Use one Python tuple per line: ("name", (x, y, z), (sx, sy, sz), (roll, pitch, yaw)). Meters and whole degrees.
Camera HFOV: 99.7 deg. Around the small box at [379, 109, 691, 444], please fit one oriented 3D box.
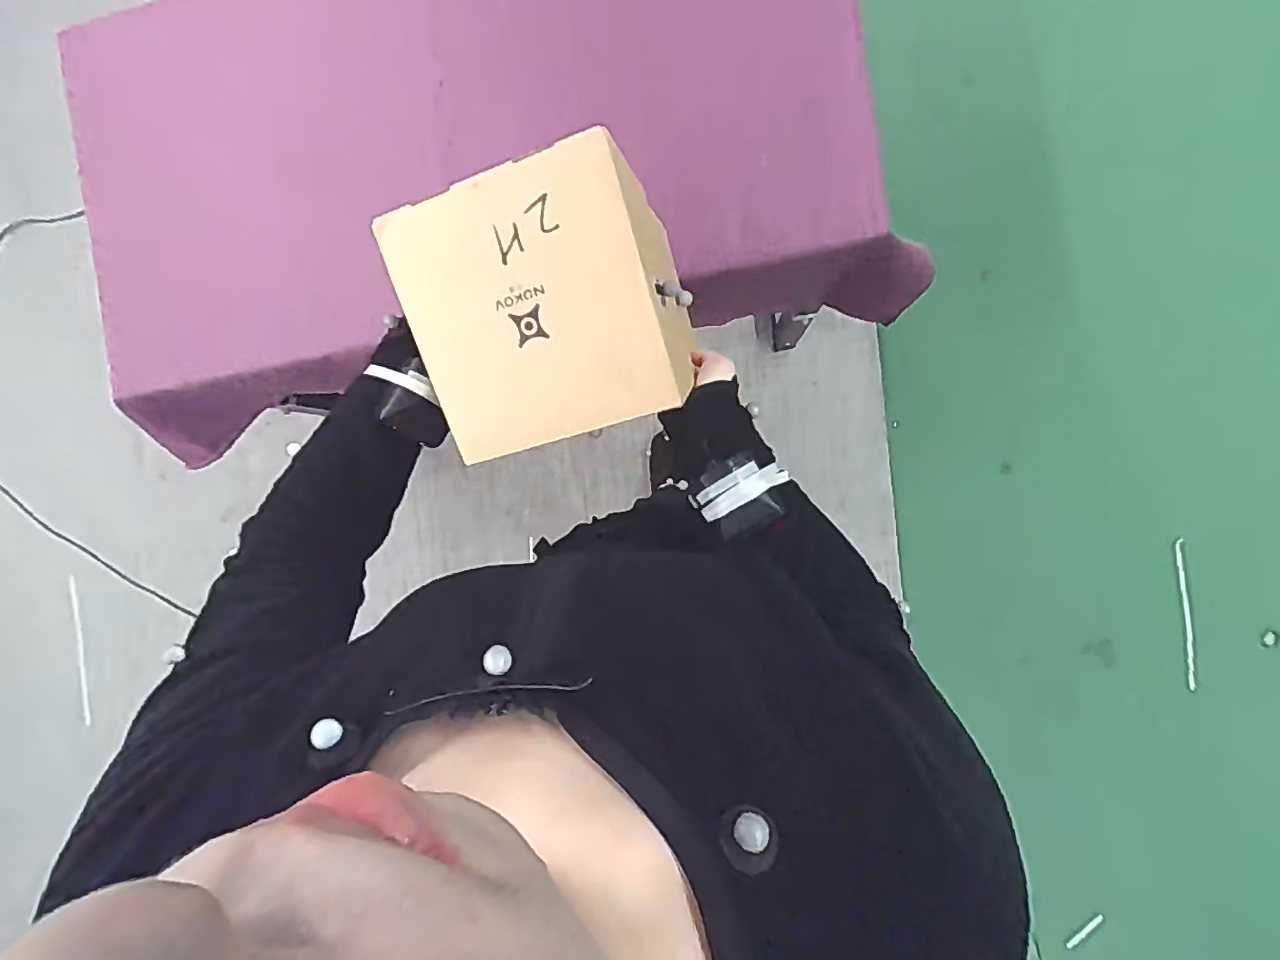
("small box", (-0.060, -0.146, 0.433), (0.168, 0.176, 0.179), (-14, 103, 12))
